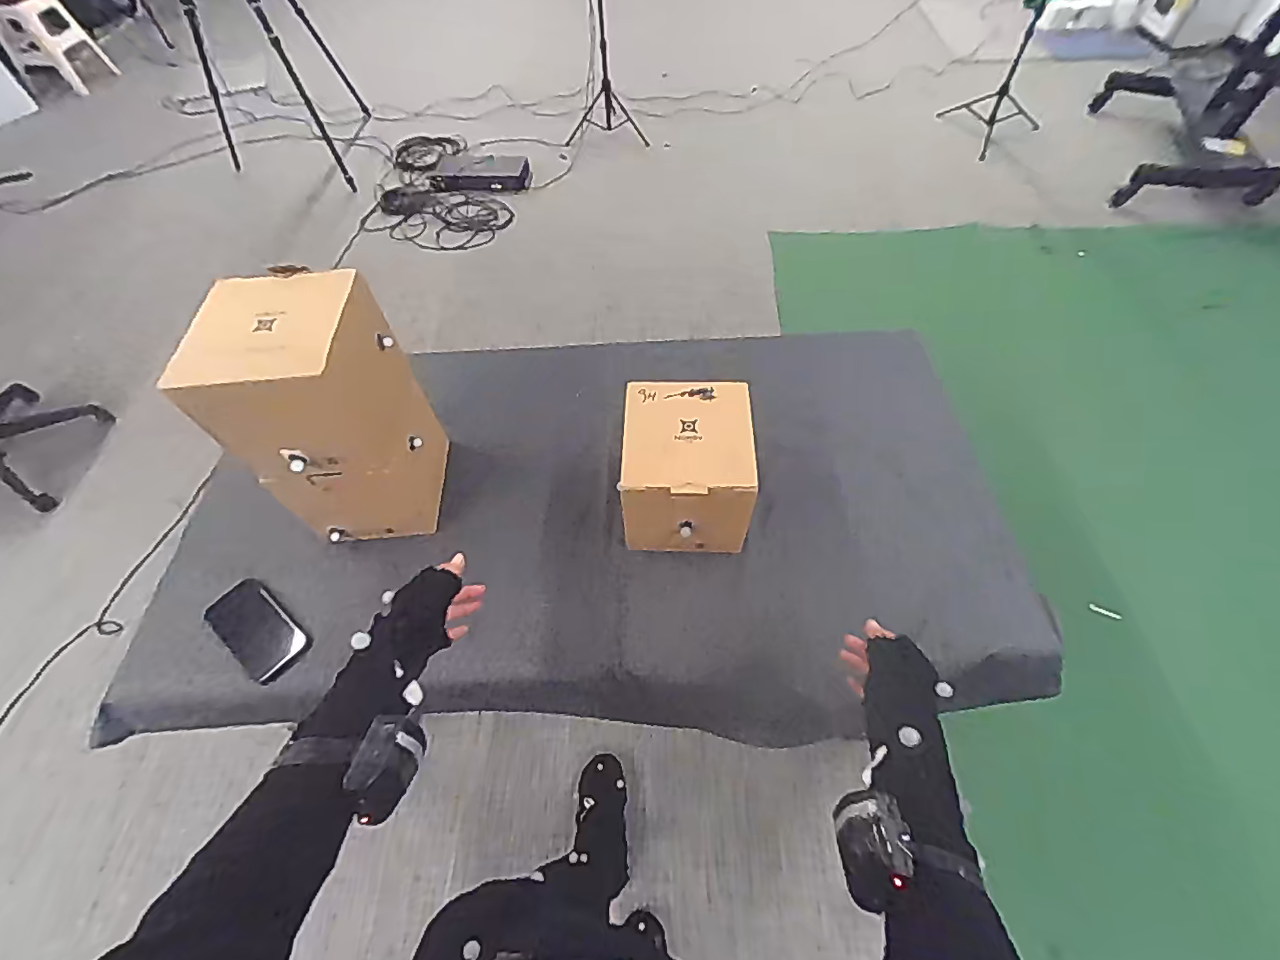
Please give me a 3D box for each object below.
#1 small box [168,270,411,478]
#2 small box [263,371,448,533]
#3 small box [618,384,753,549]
[{"bbox_3d":[-0.394,-0.123,0.650,0.168,0.176,0.179,-6,58,-1],"label":"small box"},{"bbox_3d":[-0.393,-0.033,0.785,0.168,0.176,0.179,-4,55,-1],"label":"small box"},{"bbox_3d":[0.062,-0.014,0.758,0.168,0.176,0.179,1,57,3],"label":"small box"}]
